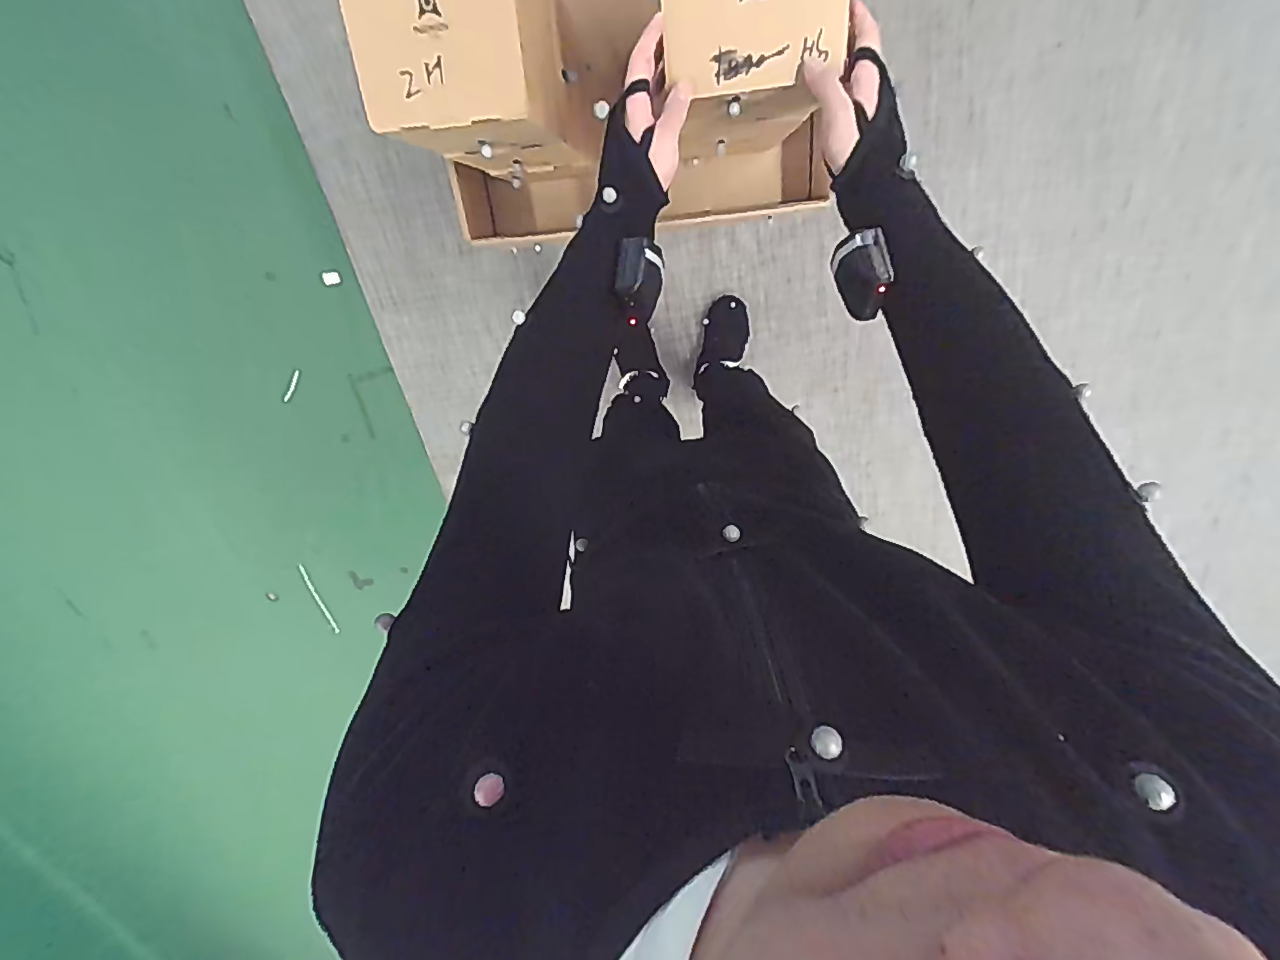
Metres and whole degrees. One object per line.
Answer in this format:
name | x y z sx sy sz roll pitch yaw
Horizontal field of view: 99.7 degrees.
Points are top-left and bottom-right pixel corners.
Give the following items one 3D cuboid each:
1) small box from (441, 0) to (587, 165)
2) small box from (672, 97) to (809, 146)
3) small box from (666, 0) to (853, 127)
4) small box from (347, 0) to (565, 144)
small box | -0.170 -0.534 0.720 0.168 0.176 0.179 -2 115 6
small box | 0.122 -0.543 0.687 0.168 0.176 0.179 -2 115 7
small box | 0.110 -0.475 0.539 0.168 0.176 0.179 -2 115 7
small box | -0.183 -0.470 0.570 0.168 0.176 0.179 -1 117 6
